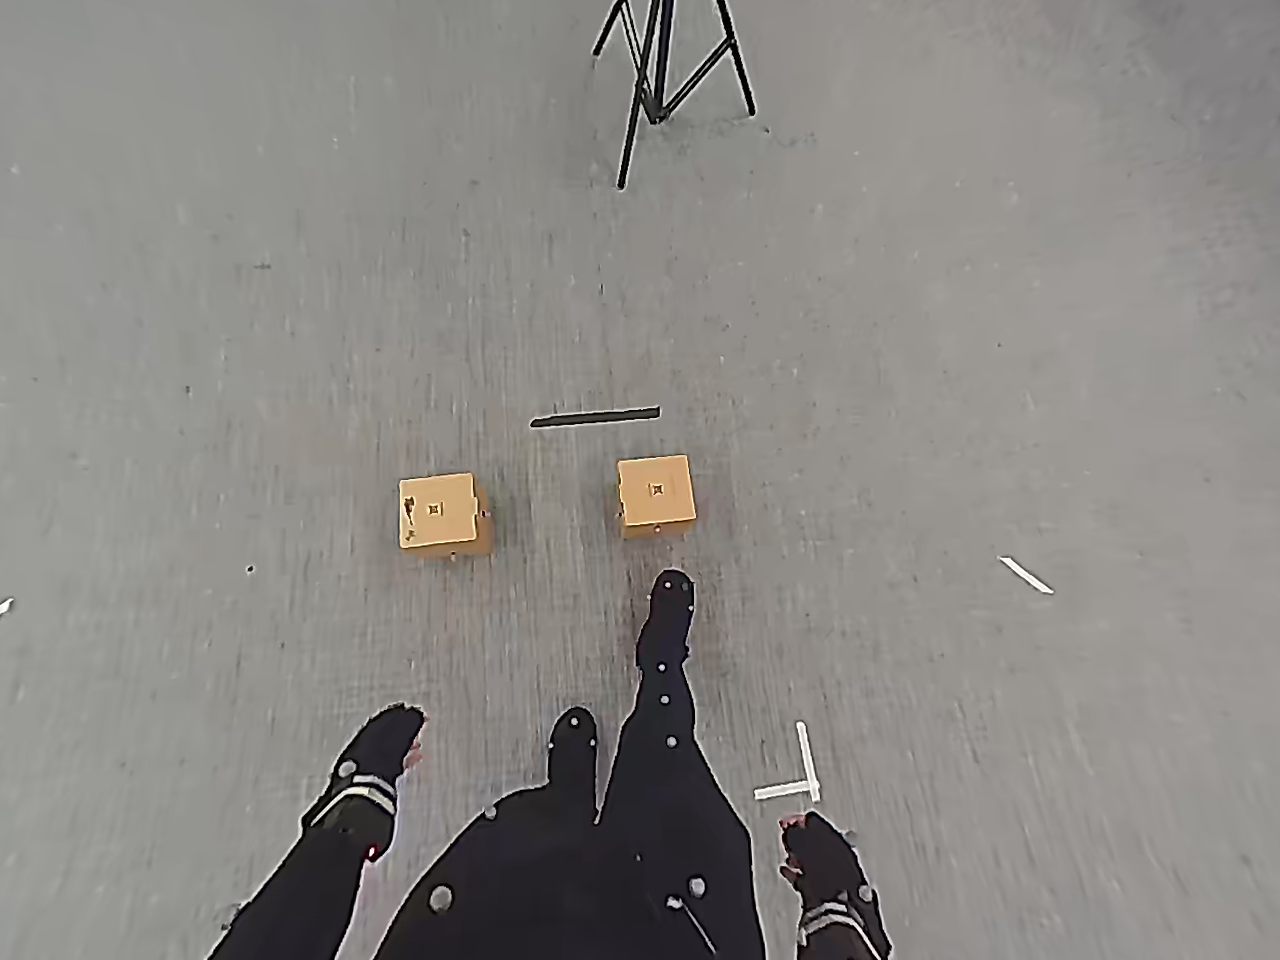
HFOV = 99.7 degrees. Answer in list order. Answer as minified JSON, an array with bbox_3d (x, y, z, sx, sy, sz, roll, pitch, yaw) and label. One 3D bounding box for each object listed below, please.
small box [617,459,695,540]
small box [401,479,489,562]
[{"bbox_3d":[0.033,0.056,1.387,0.179,0.176,0.168,-6,75,-7],"label":"small box"},{"bbox_3d":[-0.474,0.104,1.339,0.179,0.176,0.168,-6,73,-5],"label":"small box"}]
